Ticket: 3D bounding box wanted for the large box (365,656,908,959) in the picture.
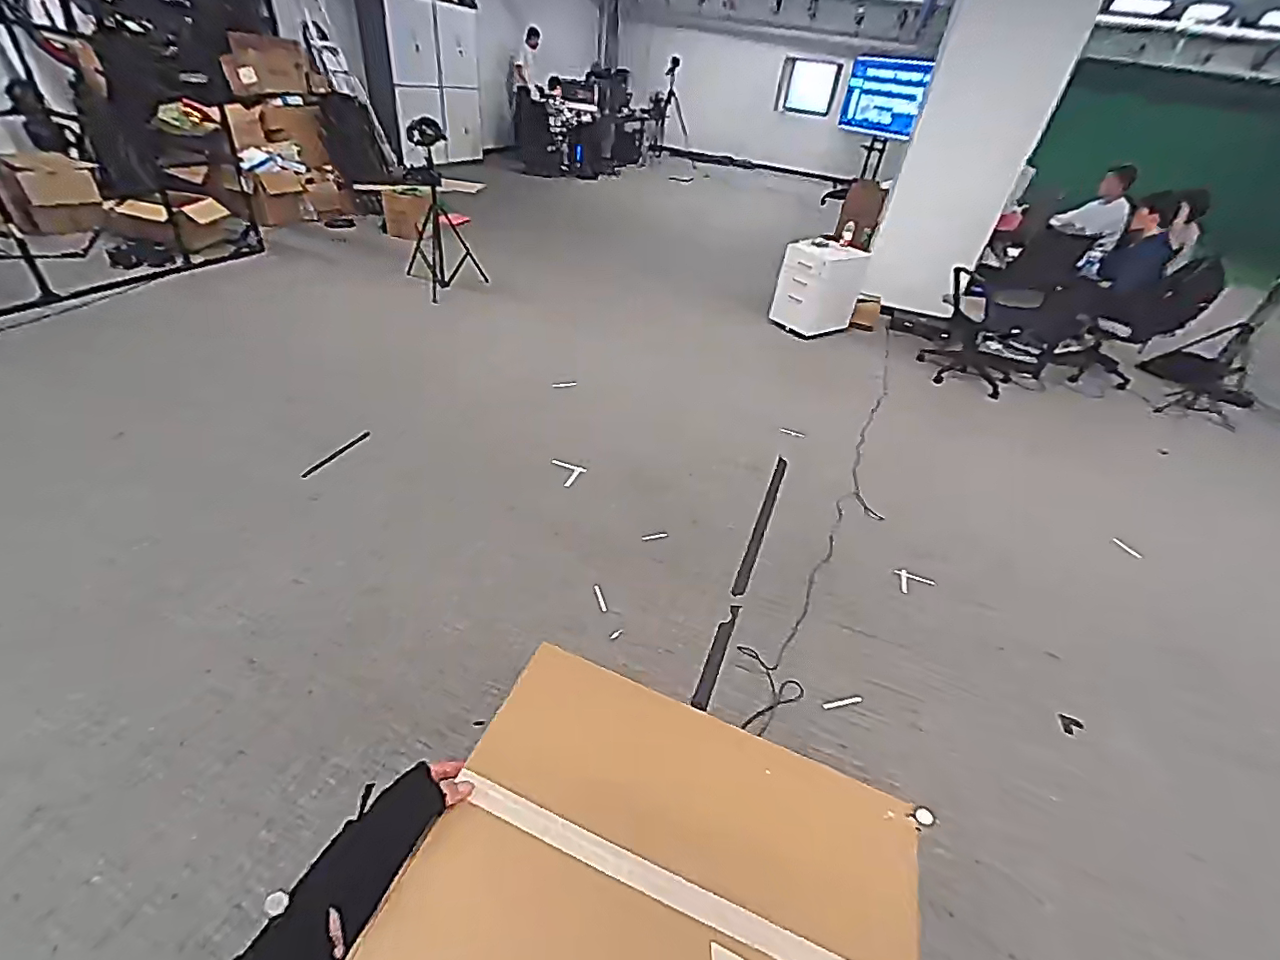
[{"bbox_3d":[0.000,0.456,0.551,0.408,0.320,0.320,21,42,10],"label":"large box"}]
